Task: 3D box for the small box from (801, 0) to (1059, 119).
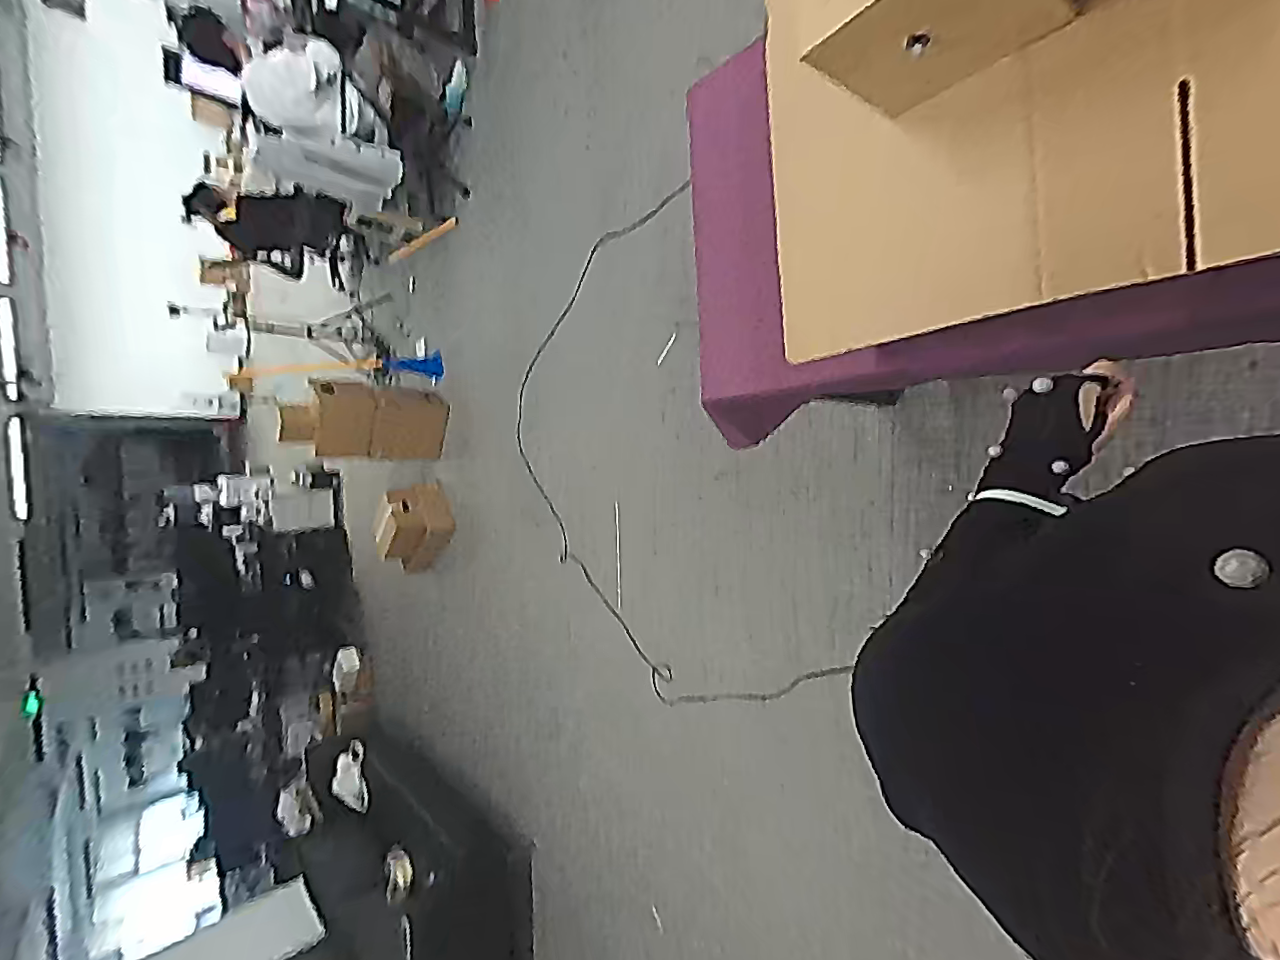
[{"bbox_3d":[0.274,-0.490,0.512,0.179,0.176,0.168,0,93,54],"label":"small box"}]
